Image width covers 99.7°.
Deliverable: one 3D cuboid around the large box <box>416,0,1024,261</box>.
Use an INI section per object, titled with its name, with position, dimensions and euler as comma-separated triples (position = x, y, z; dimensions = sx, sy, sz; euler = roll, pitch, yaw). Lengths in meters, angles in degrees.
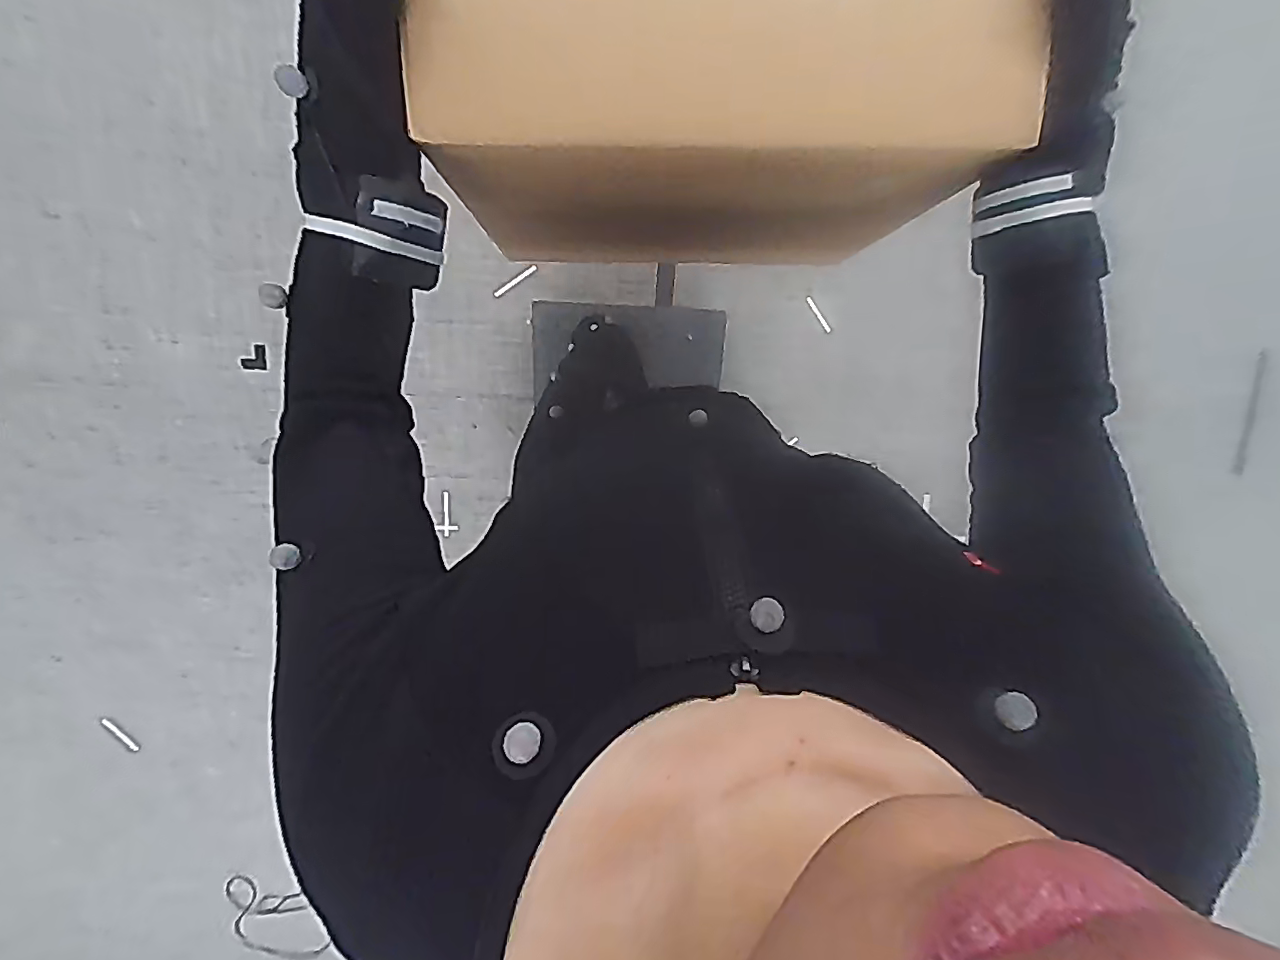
[large box]
position = 0.045, -0.398, 0.485
dimensions = 0.408, 0.320, 0.320
euler = -1, 99, -3
